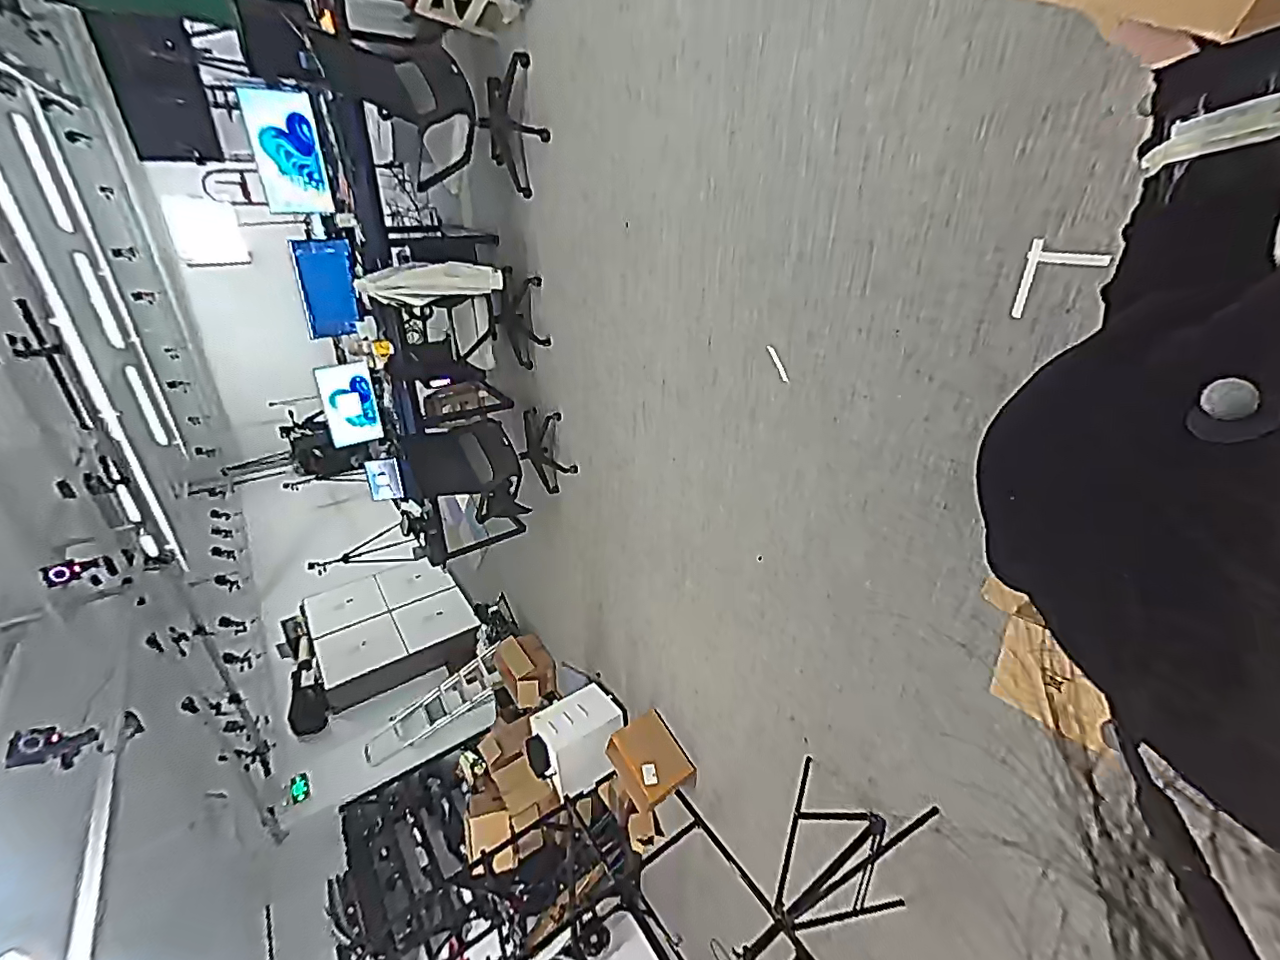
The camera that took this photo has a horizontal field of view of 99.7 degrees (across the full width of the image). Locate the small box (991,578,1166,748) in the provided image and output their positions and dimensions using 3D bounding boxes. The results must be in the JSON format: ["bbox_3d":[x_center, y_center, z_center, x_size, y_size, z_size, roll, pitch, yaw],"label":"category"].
[{"bbox_3d":[0.728,0.291,0.901,0.168,0.176,0.179,28,129,50],"label":"small box"}]
